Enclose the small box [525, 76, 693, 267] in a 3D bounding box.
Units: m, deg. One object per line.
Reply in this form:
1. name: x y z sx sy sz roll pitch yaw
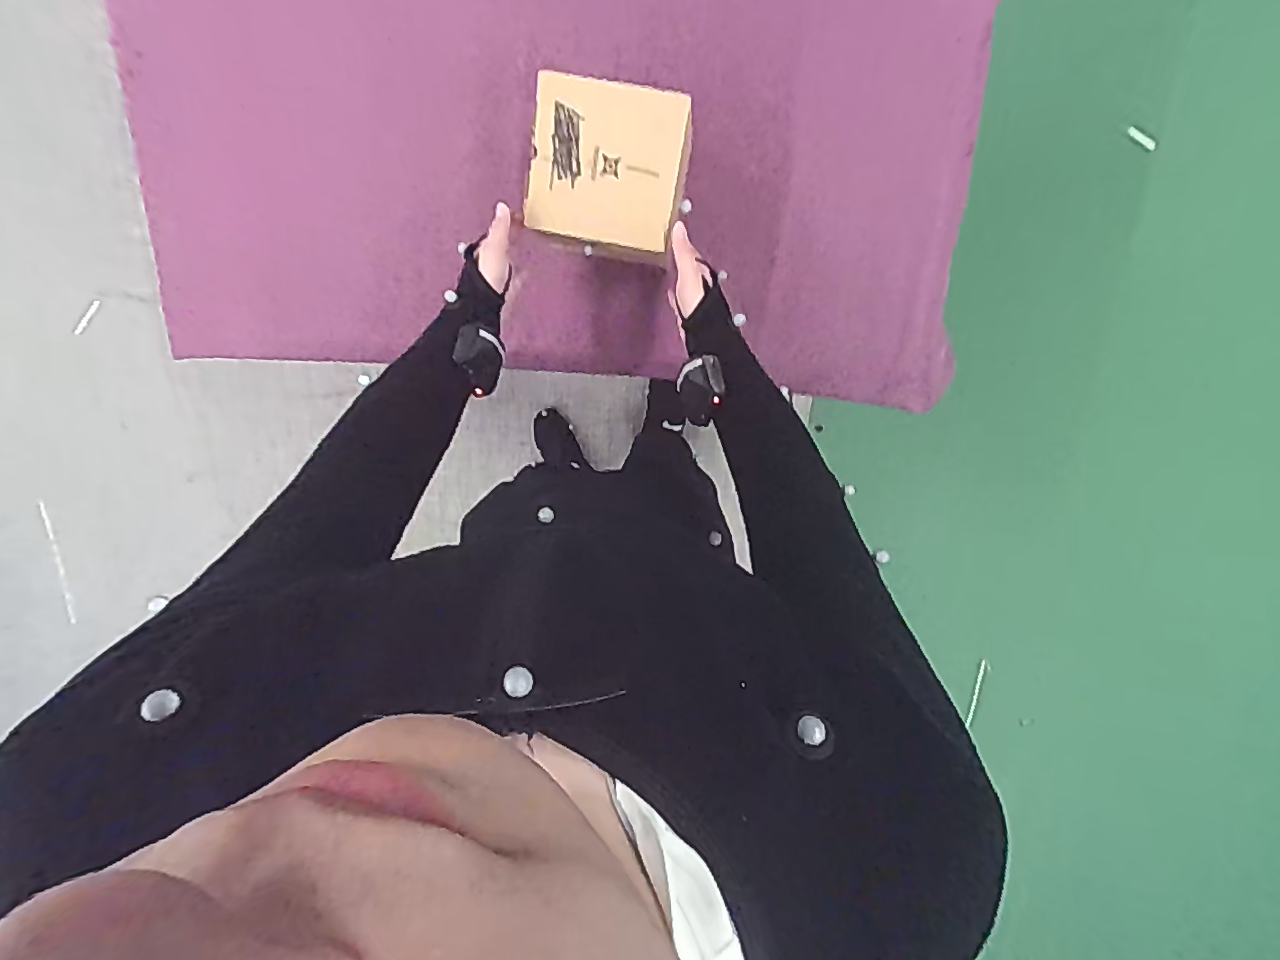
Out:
1. small box: -0.033 -0.381 0.702 0.179 0.176 0.168 11 106 1
